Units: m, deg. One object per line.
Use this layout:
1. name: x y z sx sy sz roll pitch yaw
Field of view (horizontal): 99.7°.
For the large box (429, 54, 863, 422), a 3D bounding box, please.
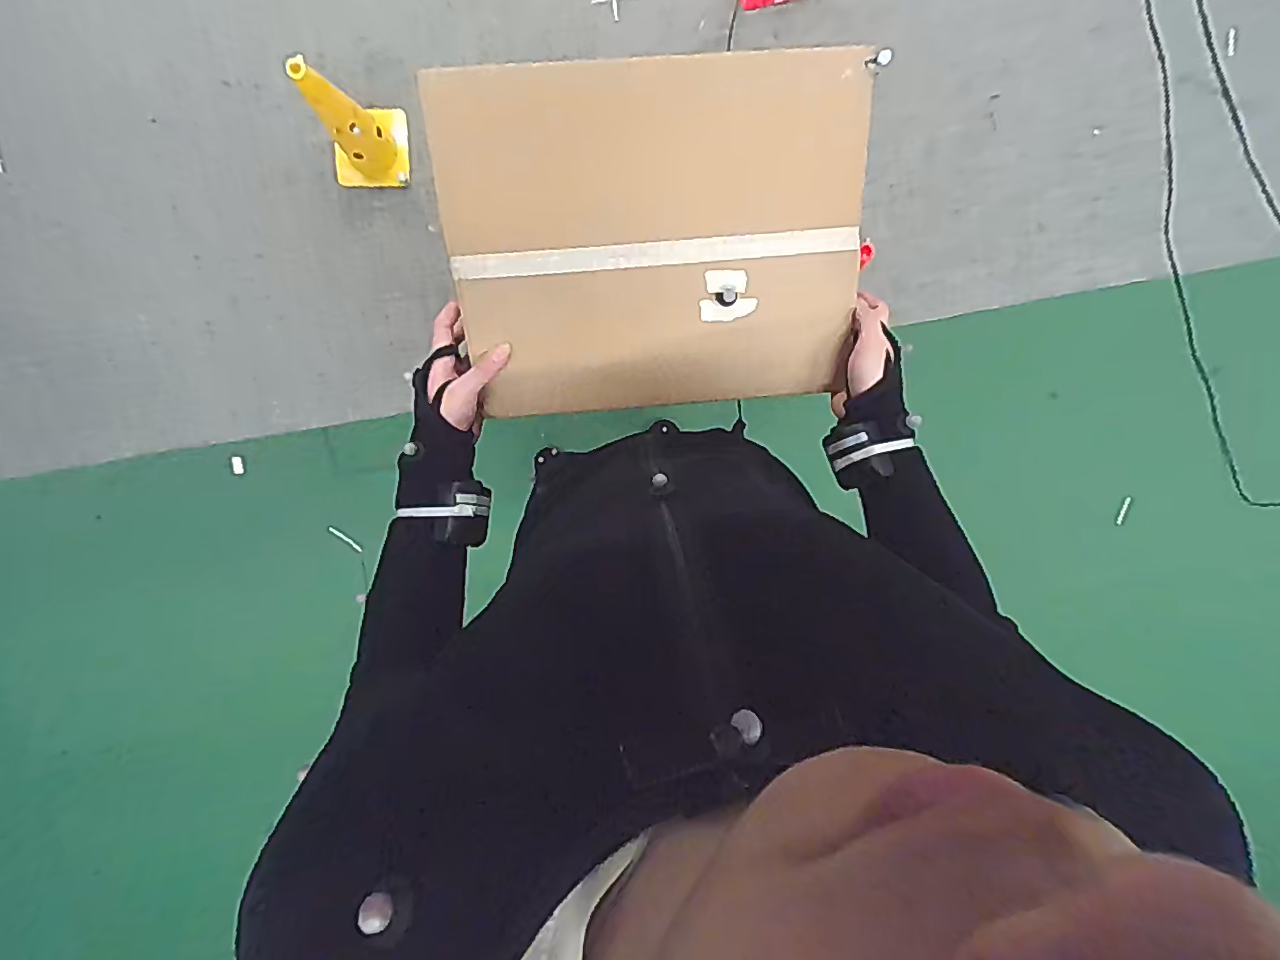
1. large box: 0.007 -0.282 0.679 0.408 0.320 0.320 -6 114 -3
